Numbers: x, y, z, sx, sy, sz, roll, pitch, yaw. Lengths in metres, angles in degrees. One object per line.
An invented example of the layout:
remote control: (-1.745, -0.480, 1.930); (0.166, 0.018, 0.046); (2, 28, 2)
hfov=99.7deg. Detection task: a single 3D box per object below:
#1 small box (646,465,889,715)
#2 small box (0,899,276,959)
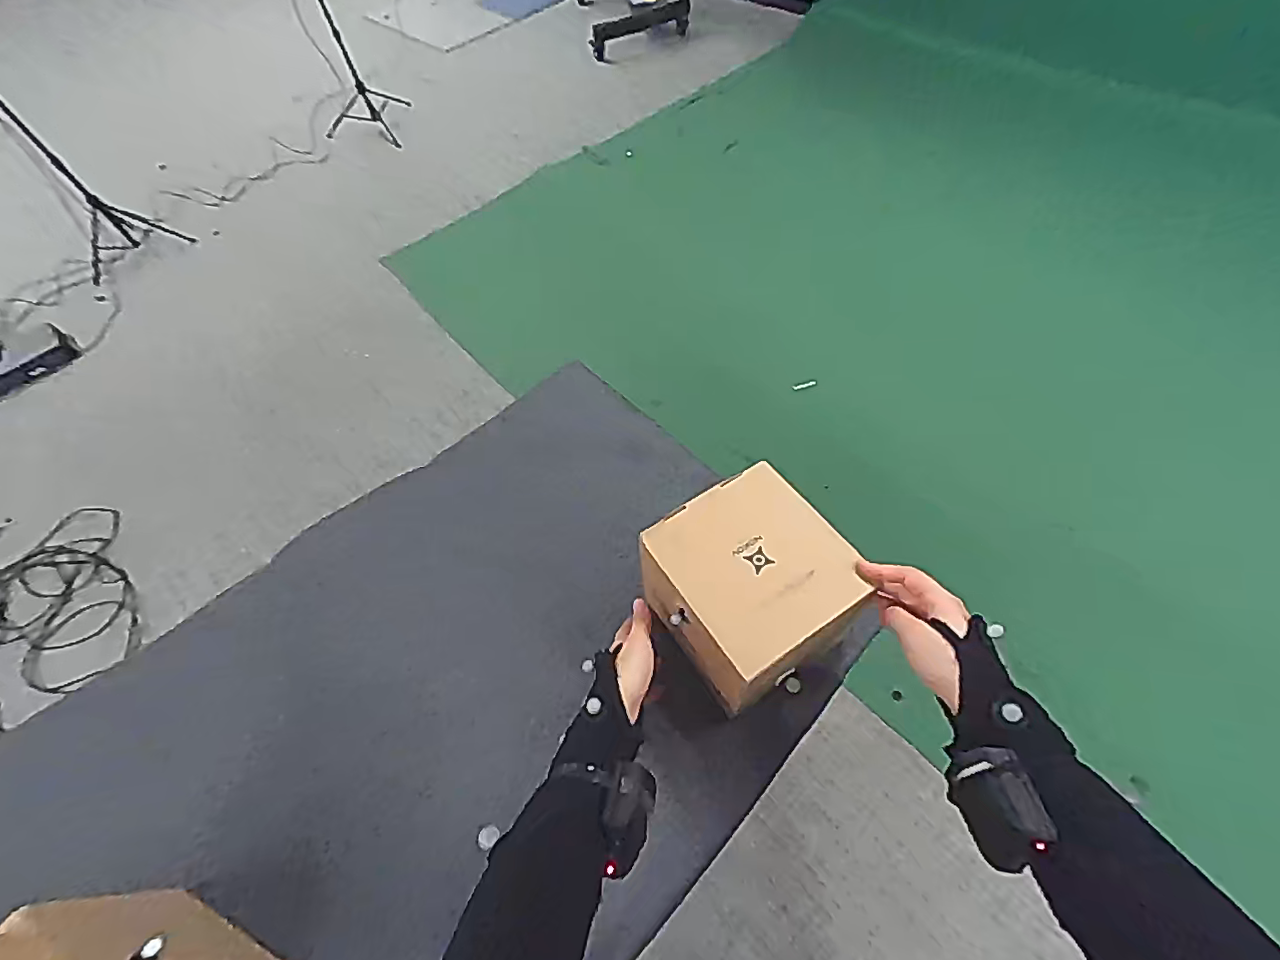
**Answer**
small box: (0.122, 0.122, 0.584); (0.168, 0.176, 0.179); (-30, 59, -15)
small box: (-0.429, 0.469, 0.430); (0.179, 0.176, 0.168); (17, 60, 17)
